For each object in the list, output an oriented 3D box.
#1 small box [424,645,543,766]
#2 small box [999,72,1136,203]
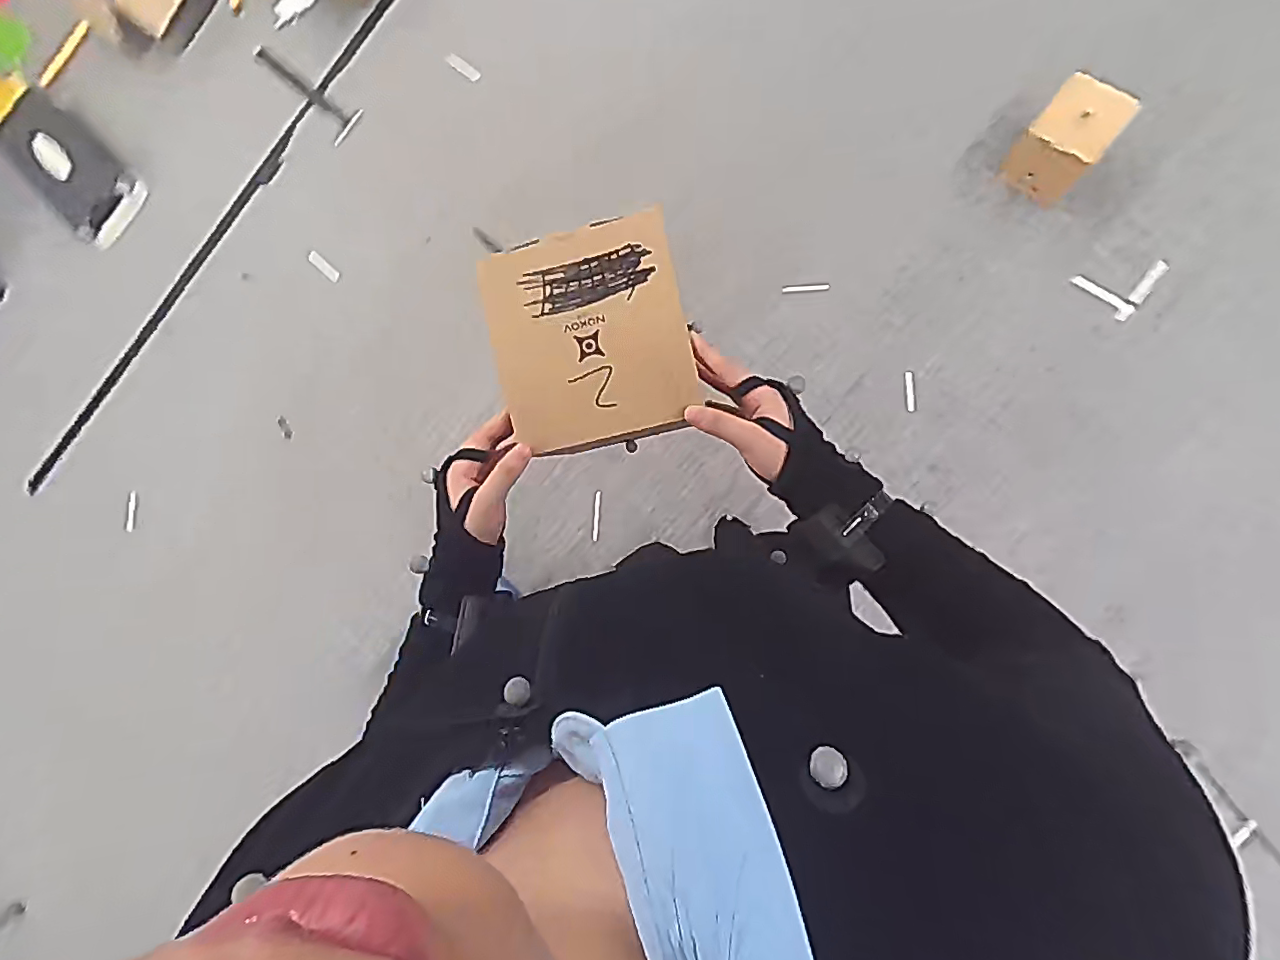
[{"bbox_3d":[-0.357,0.518,1.271,0.168,0.176,0.179,42,93,11],"label":"small box"},{"bbox_3d":[1.036,-0.834,1.332,0.168,0.176,0.179,38,93,12],"label":"small box"}]
